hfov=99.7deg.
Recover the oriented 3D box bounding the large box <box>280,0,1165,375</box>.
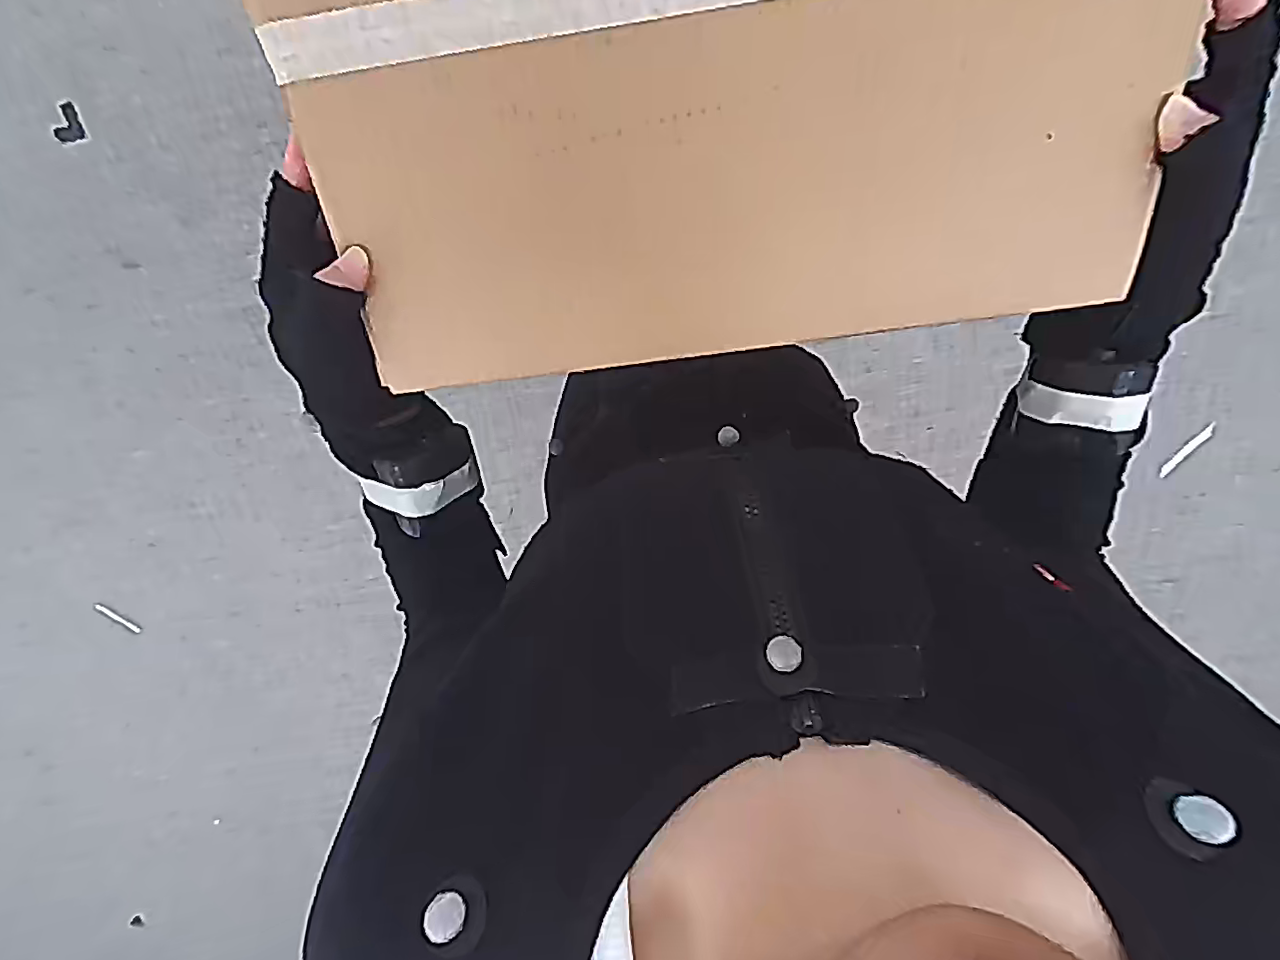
[{"bbox_3d":[0.033,-0.287,0.376,0.408,0.320,0.320,-7,117,3],"label":"large box"}]
